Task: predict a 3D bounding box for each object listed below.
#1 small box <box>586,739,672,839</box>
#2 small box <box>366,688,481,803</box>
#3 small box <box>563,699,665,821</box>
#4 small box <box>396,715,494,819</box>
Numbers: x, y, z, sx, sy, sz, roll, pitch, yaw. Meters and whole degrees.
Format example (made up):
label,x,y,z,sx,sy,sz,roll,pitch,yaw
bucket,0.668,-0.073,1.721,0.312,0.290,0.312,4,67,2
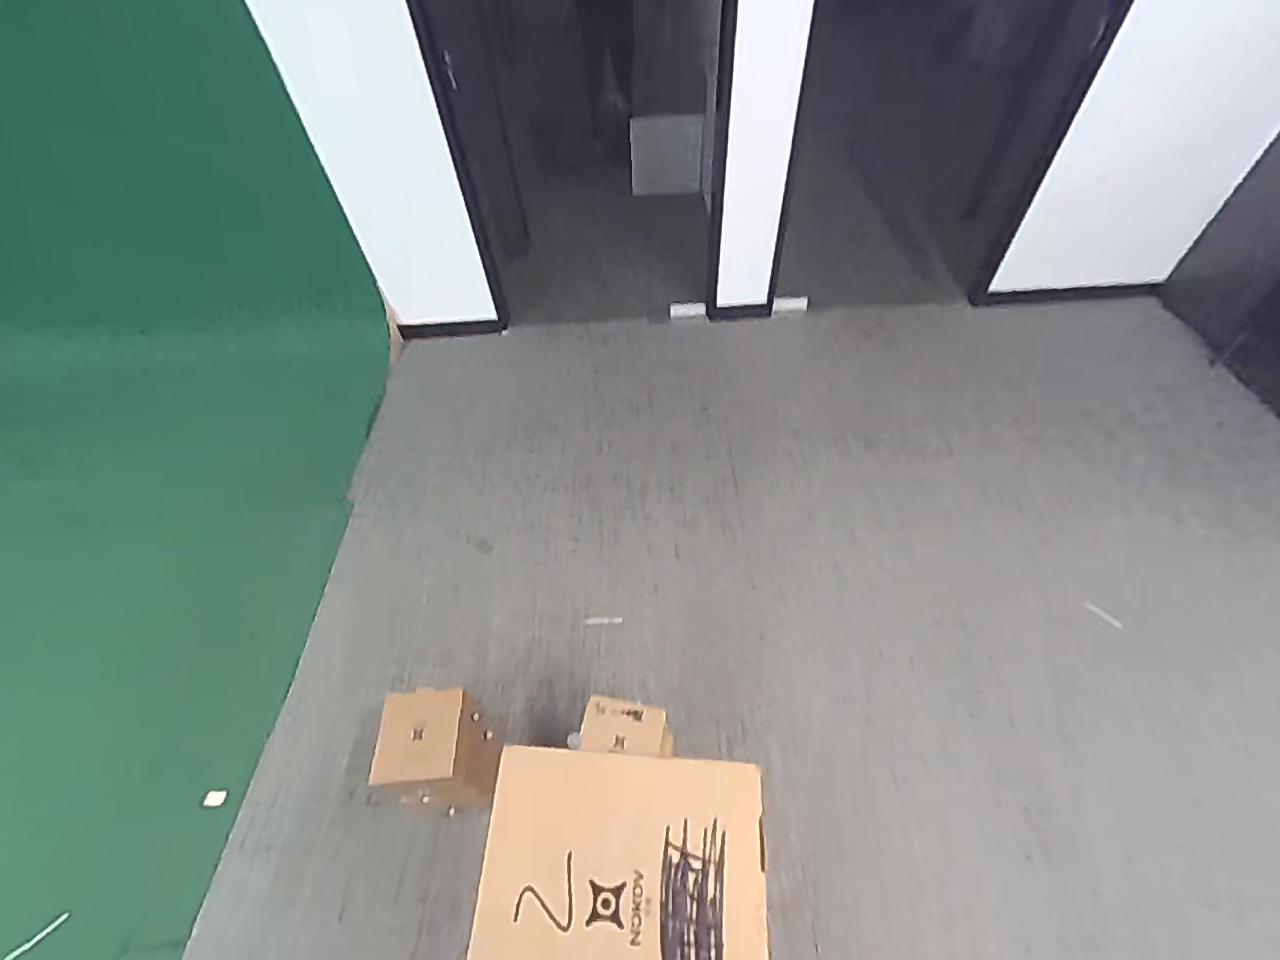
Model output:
label,x,y,z,sx,sy,sz,roll,pitch,yaw
small box,-0.020,0.693,1.232,0.168,0.176,0.179,5,51,7
small box,-0.445,0.565,1.147,0.168,0.176,0.179,-6,50,-1
small box,-0.043,0.580,1.115,0.168,0.176,0.179,8,52,10
small box,-0.446,0.673,1.268,0.168,0.176,0.179,-5,50,-2
